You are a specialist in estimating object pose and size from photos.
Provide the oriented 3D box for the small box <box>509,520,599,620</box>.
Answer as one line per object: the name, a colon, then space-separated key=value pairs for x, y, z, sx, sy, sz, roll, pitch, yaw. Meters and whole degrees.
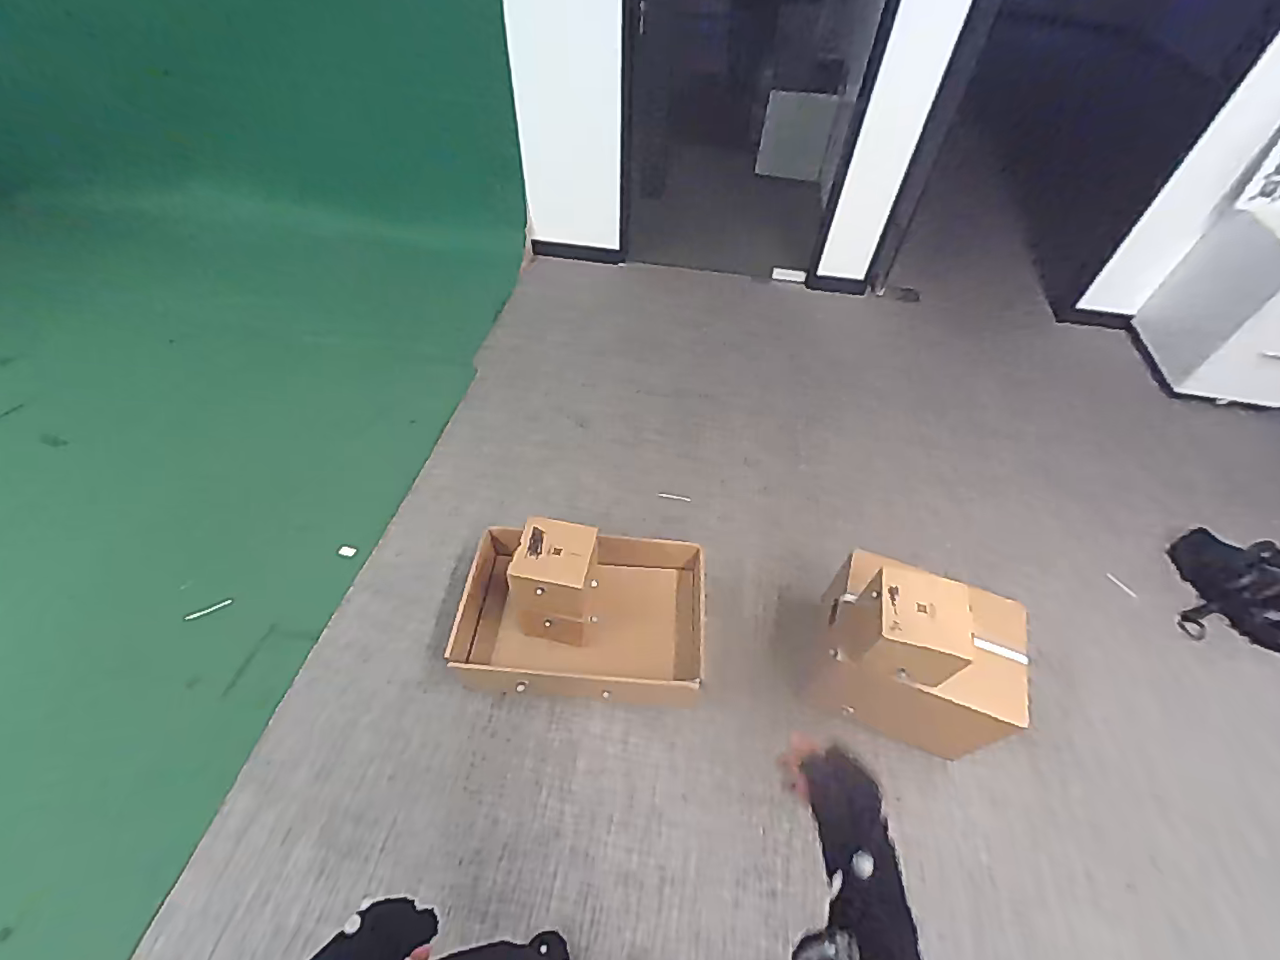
small box: x=-0.203 y=0.224 z=1.322 sx=0.179 sy=0.176 sz=0.168 roll=11 pitch=51 yaw=3

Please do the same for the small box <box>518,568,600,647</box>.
small box: x=-0.210 y=0.329 z=1.448 sx=0.179 sy=0.176 sz=0.168 roll=11 pitch=51 yaw=3

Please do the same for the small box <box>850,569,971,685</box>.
small box: x=0.568 y=0.318 z=1.151 sx=0.179 sy=0.176 sz=0.168 roll=14 pitch=53 yaw=8
